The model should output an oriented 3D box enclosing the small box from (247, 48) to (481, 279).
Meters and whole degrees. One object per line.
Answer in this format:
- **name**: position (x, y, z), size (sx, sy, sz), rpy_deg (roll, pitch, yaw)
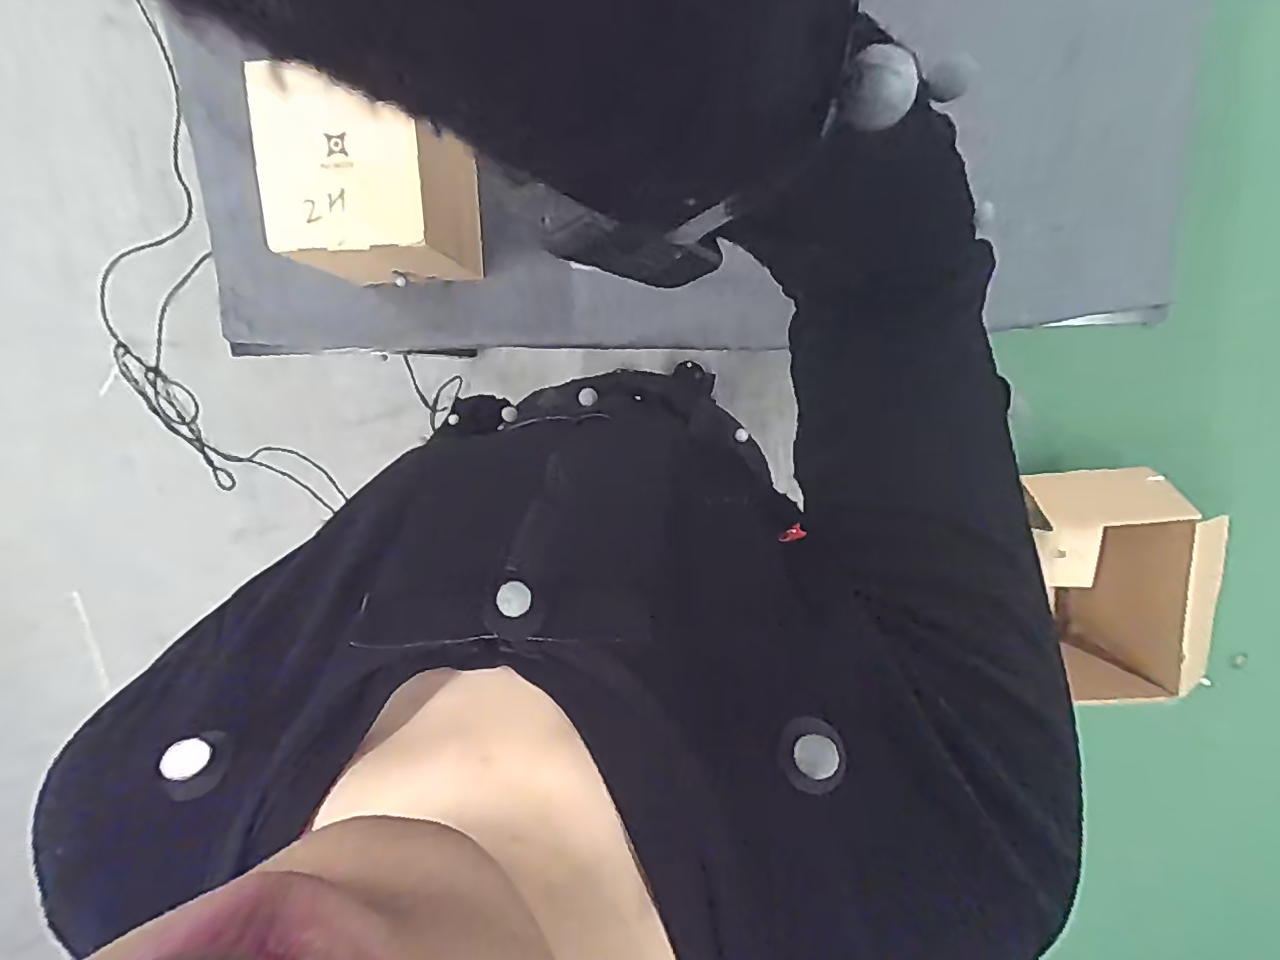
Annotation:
- **small box**: position (-0.288, -0.334, 0.604), size (0.168, 0.176, 0.179), rpy_deg (-1, 100, 3)
